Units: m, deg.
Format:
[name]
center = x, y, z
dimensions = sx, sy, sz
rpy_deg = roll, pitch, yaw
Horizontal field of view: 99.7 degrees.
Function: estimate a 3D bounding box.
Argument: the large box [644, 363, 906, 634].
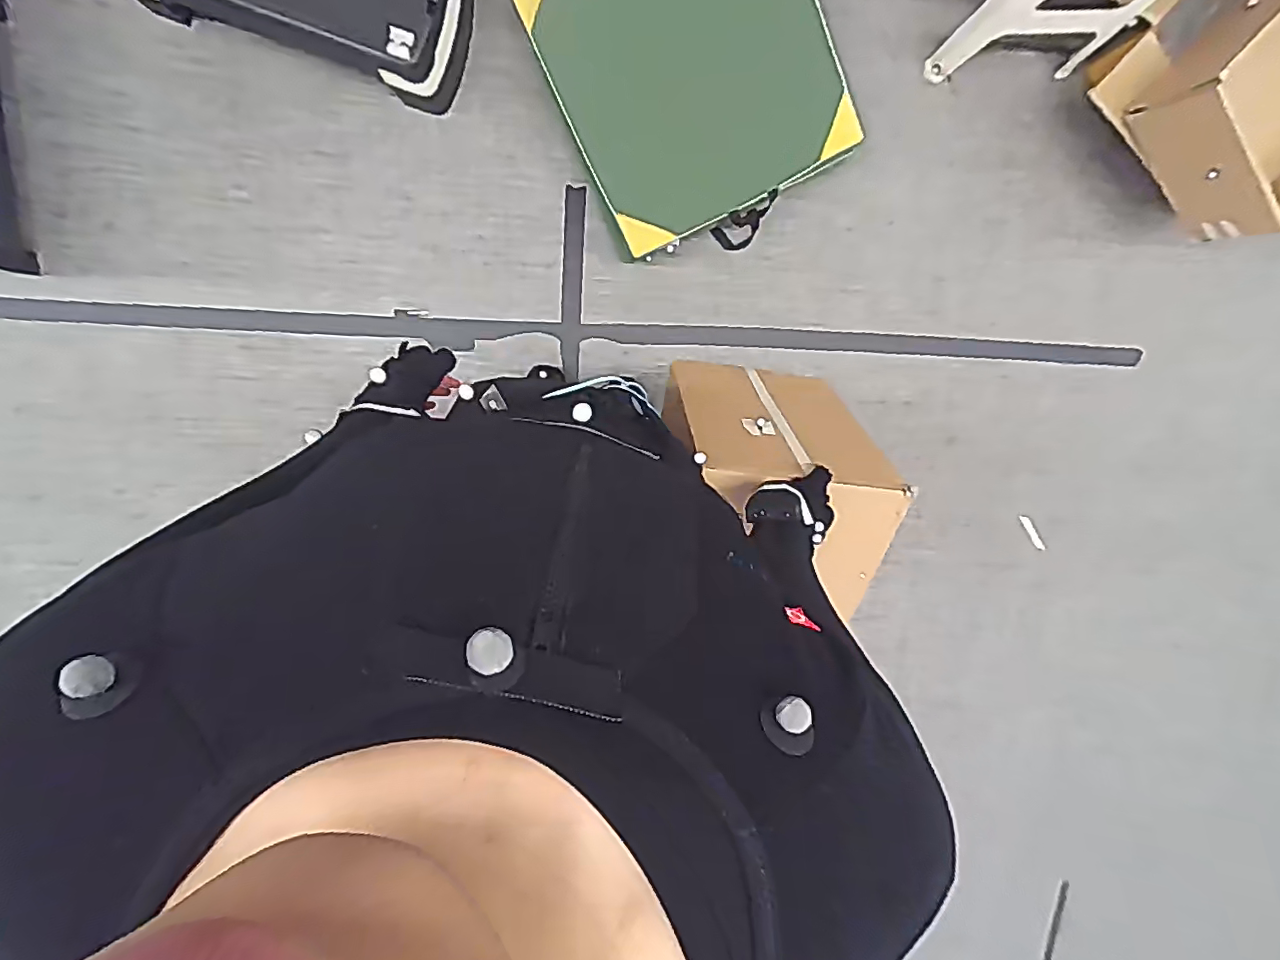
[large box]
center = 0.195, 0.020, 0.996
dimensions = 0.320, 0.408, 0.320
rpy_deg = 5, 124, -7
